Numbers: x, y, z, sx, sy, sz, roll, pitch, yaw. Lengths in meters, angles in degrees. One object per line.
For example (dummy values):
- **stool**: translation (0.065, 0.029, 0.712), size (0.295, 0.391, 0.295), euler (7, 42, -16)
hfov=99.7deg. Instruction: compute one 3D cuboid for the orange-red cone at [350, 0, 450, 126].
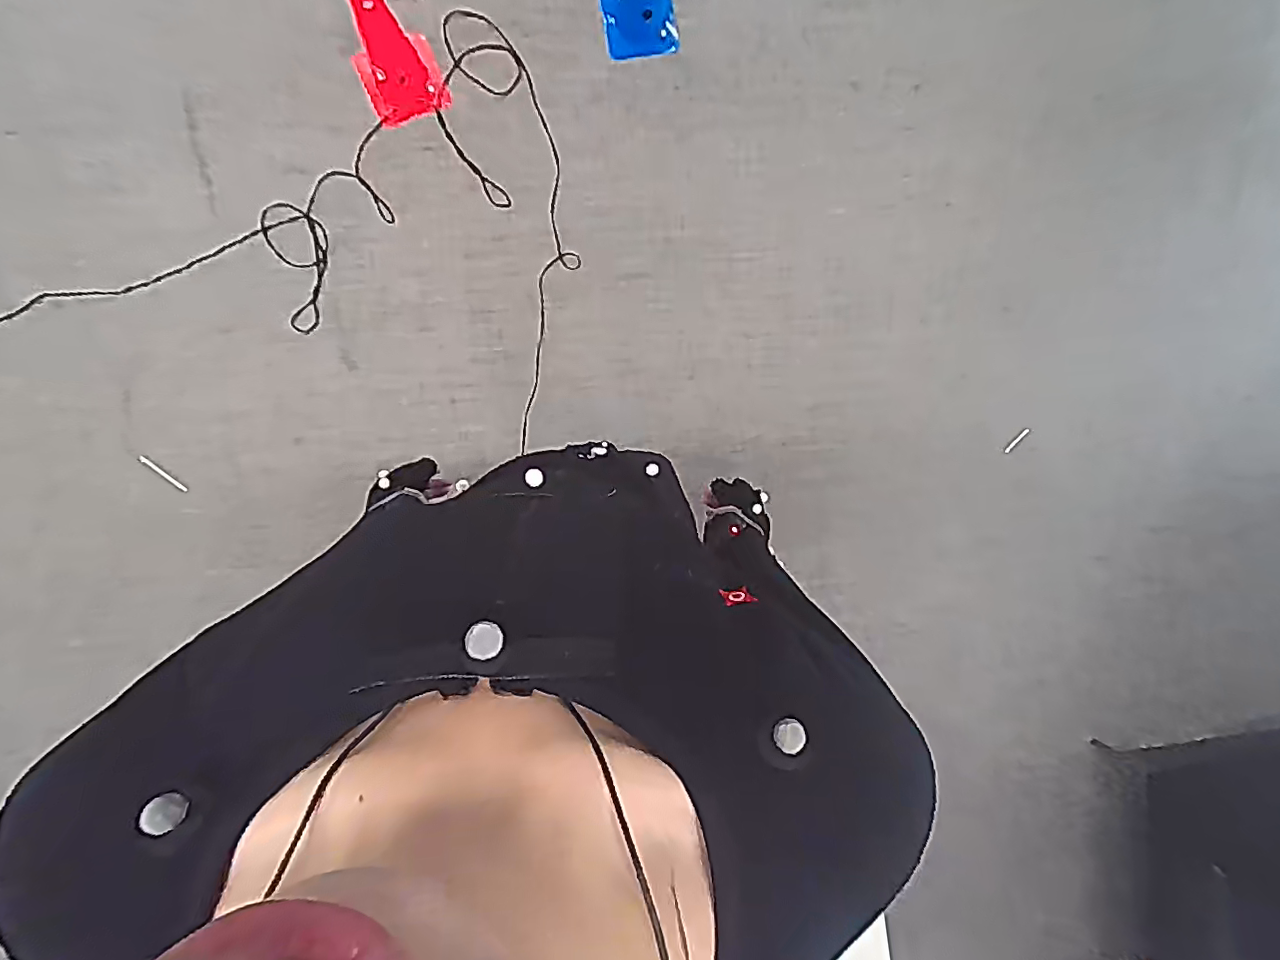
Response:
- **orange-red cone**: translation (-0.605, -1.045, 1.252), size (0.198, 0.360, 0.199), euler (-23, 93, -6)
